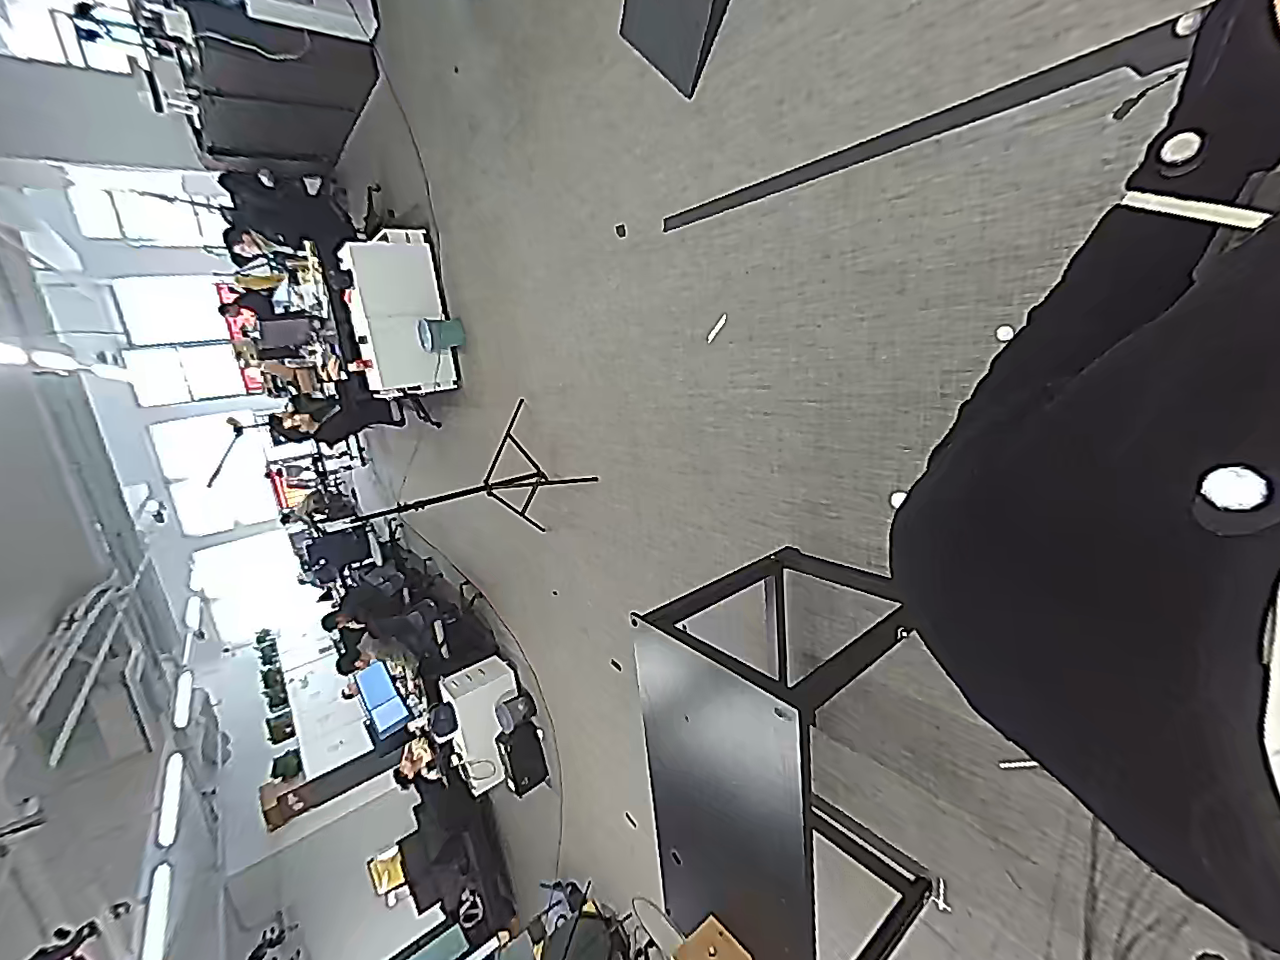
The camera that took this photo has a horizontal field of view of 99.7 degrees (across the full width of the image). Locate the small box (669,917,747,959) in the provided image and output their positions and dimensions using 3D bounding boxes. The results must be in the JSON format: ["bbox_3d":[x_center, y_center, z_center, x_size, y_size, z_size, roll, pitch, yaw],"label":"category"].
[{"bbox_3d":[0.207,1.438,1.567,0.168,0.176,0.179,10,111,52],"label":"small box"}]
